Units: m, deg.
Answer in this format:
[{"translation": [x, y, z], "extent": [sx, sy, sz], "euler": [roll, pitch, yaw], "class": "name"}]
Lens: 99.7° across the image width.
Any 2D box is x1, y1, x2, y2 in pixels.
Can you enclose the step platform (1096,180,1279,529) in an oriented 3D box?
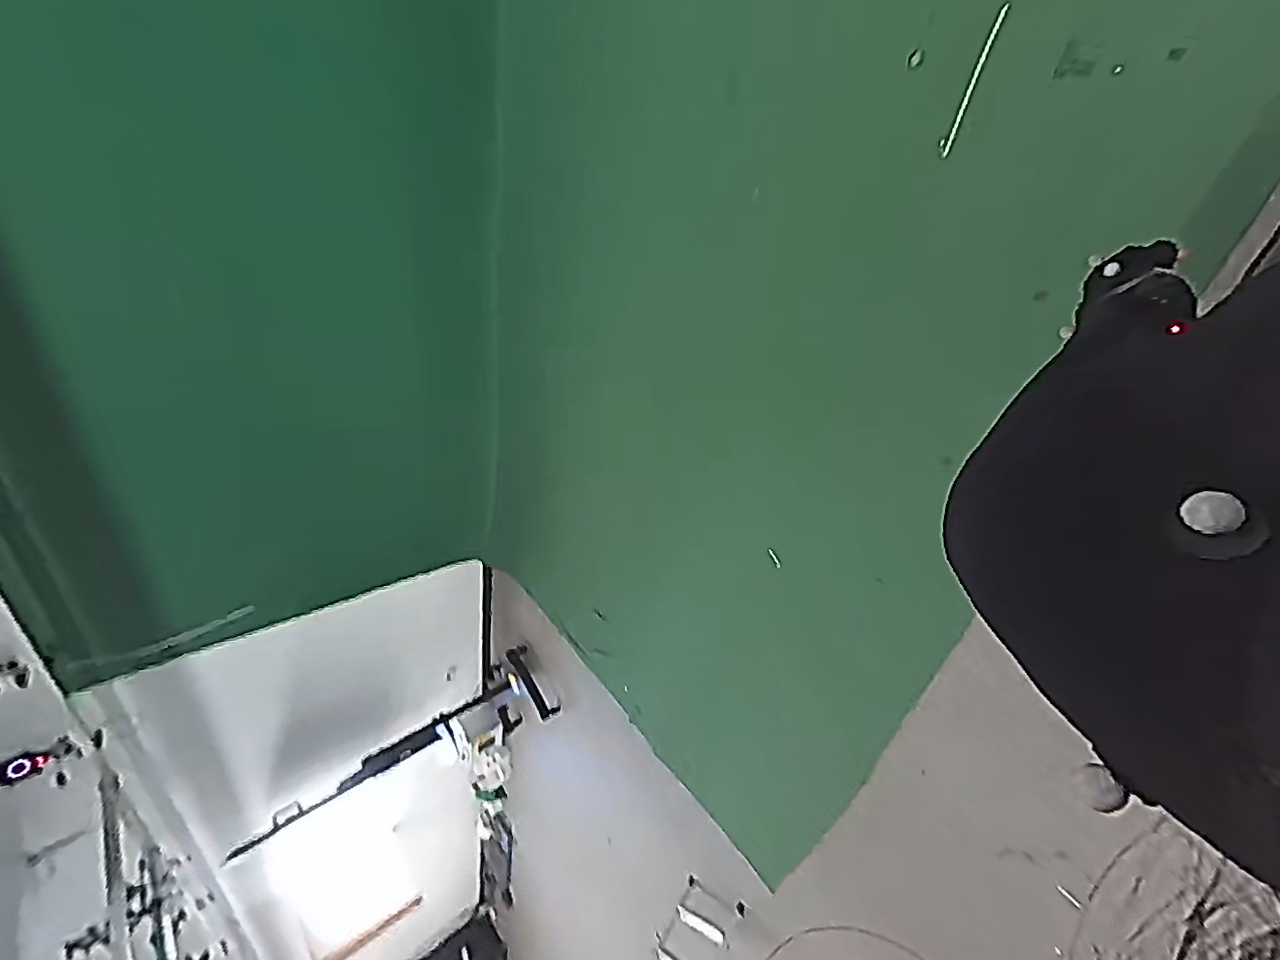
[{"translation": [1.087, -0.271, 0.870], "extent": [0.286, 0.204, 0.684], "euler": [36, 130, 36], "class": "step platform"}]
